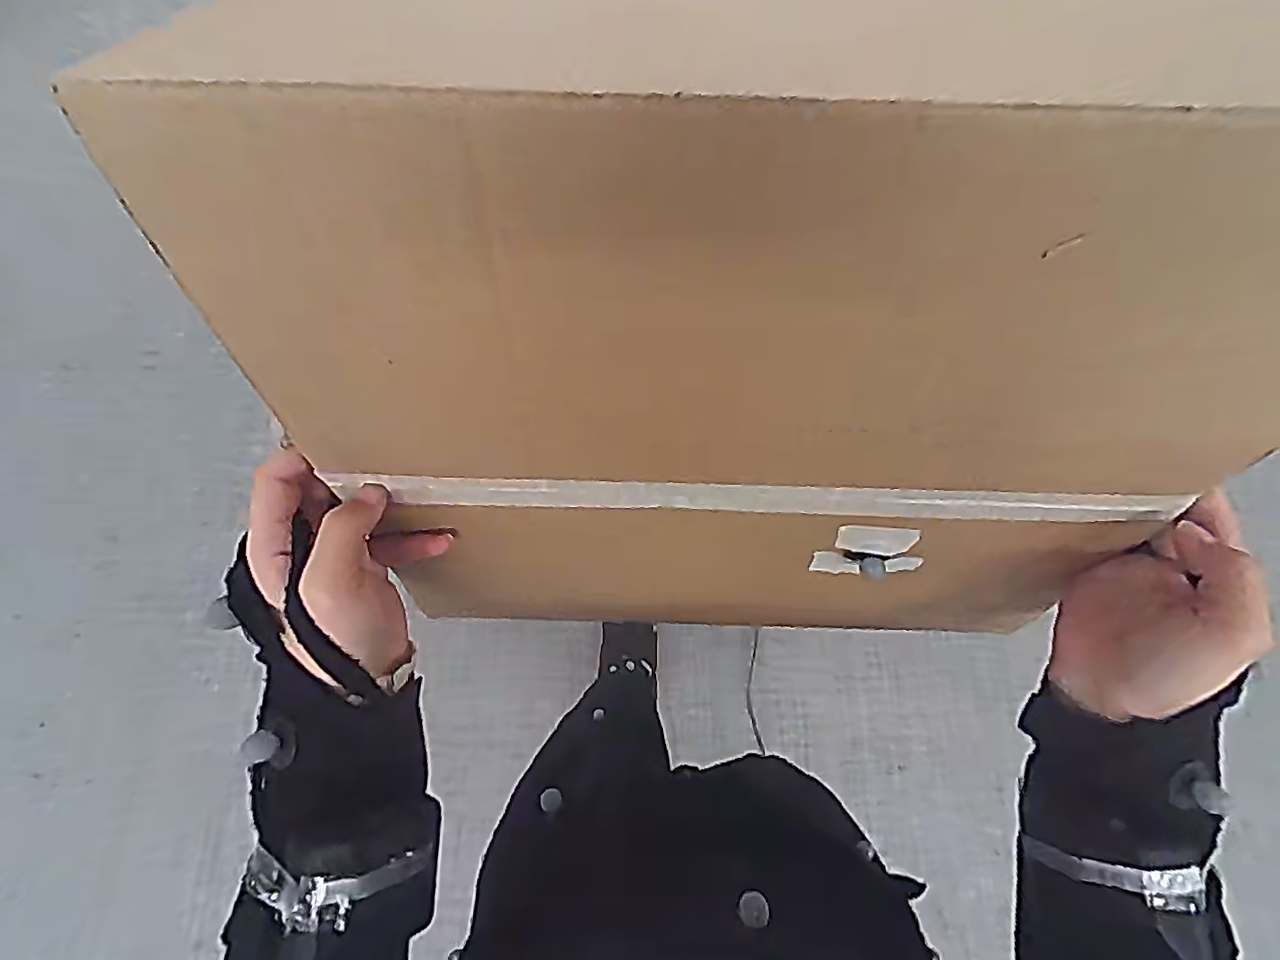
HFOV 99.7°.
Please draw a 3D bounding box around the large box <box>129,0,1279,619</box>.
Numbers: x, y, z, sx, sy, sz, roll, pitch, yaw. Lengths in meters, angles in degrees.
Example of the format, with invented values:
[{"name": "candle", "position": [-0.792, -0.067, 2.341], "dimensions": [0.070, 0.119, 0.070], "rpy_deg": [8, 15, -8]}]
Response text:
[{"name": "large box", "position": [0.051, -0.115, 0.357], "dimensions": [0.408, 0.320, 0.320], "rpy_deg": [1, 53, 0]}]
